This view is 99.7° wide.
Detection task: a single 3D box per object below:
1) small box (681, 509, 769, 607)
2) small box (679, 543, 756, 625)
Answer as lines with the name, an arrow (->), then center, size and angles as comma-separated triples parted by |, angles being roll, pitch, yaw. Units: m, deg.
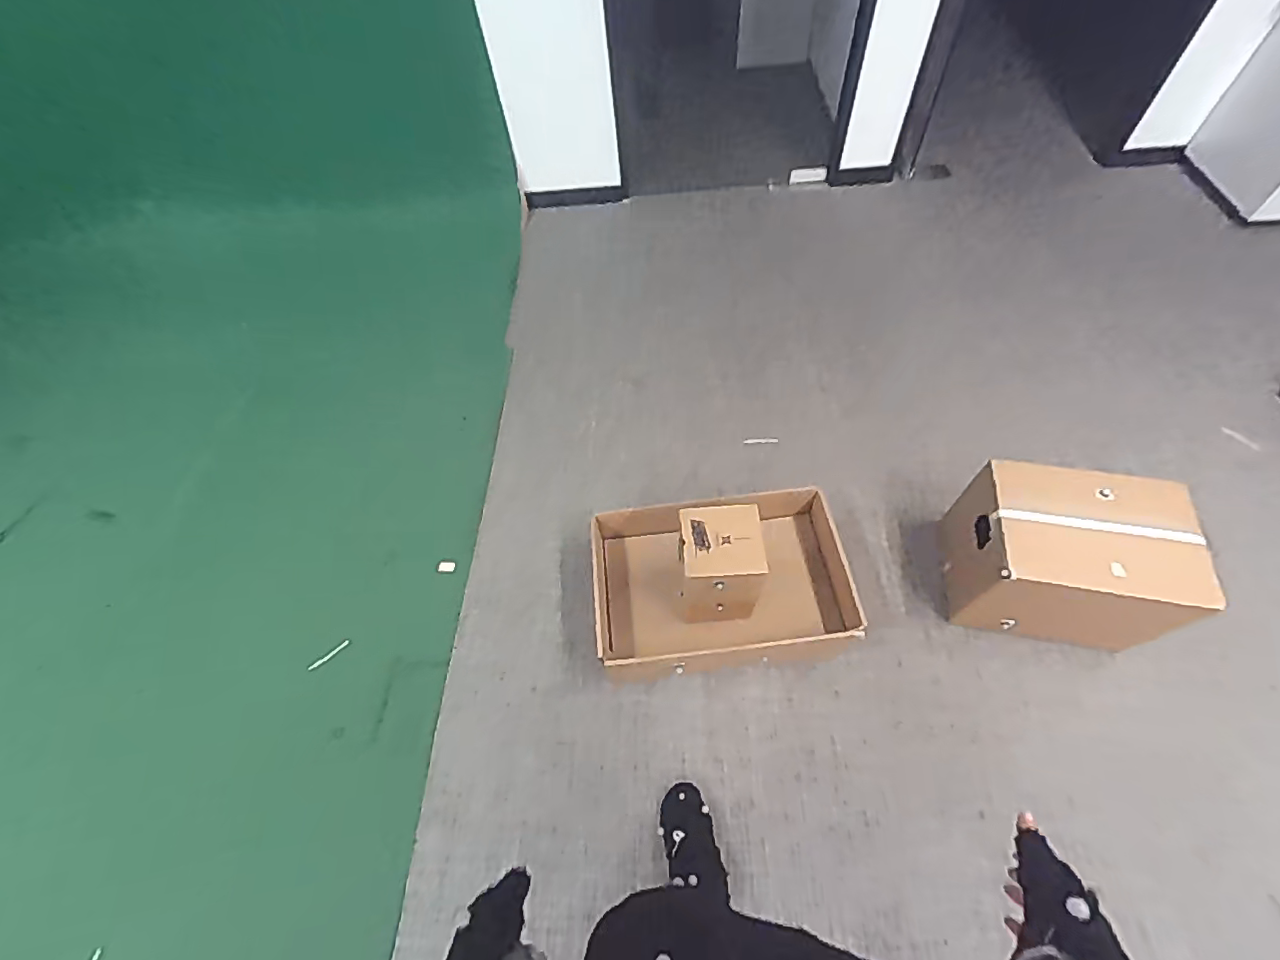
small box -> 0.186, 0.182, 1.229 | 0.179, 0.176, 0.168 | -3, 57, 2
small box -> 0.196, 0.261, 1.374 | 0.179, 0.176, 0.168 | -5, 57, 0
